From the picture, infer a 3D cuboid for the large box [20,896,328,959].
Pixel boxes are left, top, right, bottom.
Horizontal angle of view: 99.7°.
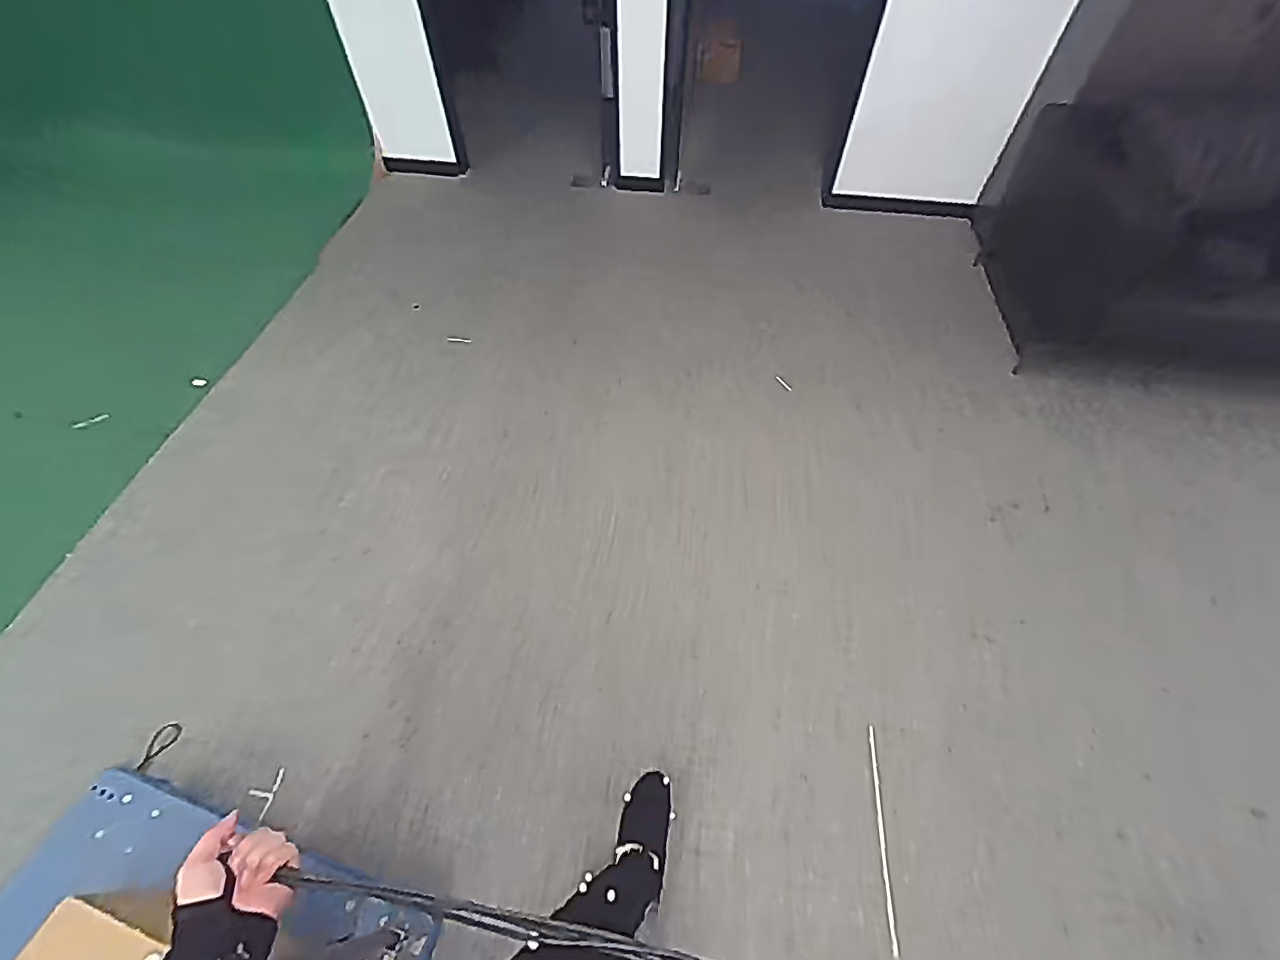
[{"bbox_3d":[-0.767,0.919,0.854,0.408,0.320,0.320,15,55,11],"label":"large box"}]
